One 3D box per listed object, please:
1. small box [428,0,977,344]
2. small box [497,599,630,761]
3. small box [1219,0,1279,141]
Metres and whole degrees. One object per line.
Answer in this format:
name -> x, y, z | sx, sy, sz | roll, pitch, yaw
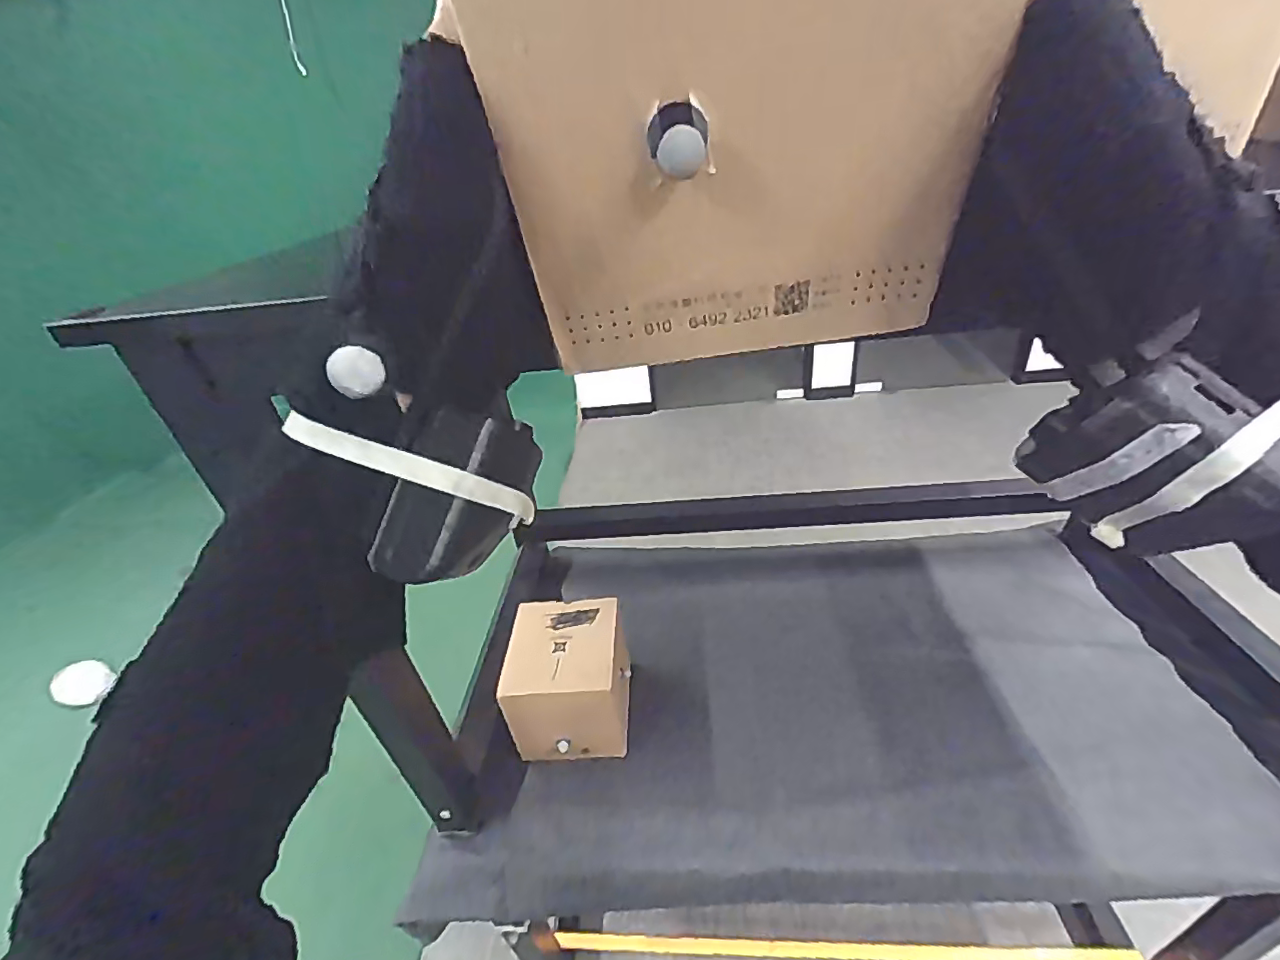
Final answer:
small box -> 0.025, -0.176, 0.238 | 0.168, 0.176, 0.179 | -8, 50, 4
small box -> -0.108, 0.313, 0.855 | 0.168, 0.176, 0.179 | -5, 33, 4
small box -> 0.514, -0.303, 0.309 | 0.168, 0.176, 0.179 | 1, 33, 14
